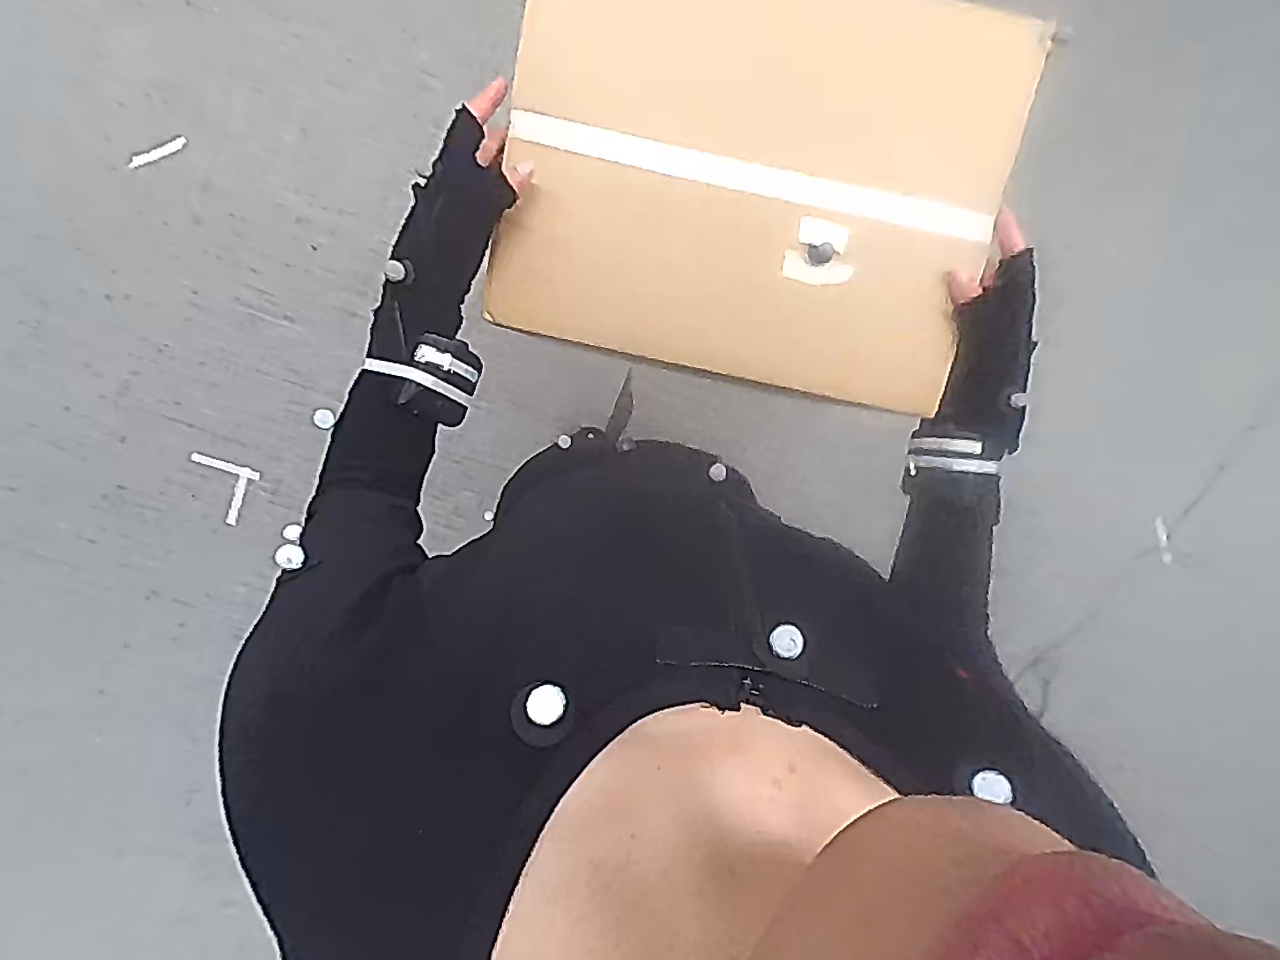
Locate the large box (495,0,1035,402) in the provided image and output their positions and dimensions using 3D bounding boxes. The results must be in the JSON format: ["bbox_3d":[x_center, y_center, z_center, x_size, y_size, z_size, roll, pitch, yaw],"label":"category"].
[{"bbox_3d":[0.092,-0.276,0.594,0.408,0.320,0.320,11,101,-3],"label":"large box"}]
